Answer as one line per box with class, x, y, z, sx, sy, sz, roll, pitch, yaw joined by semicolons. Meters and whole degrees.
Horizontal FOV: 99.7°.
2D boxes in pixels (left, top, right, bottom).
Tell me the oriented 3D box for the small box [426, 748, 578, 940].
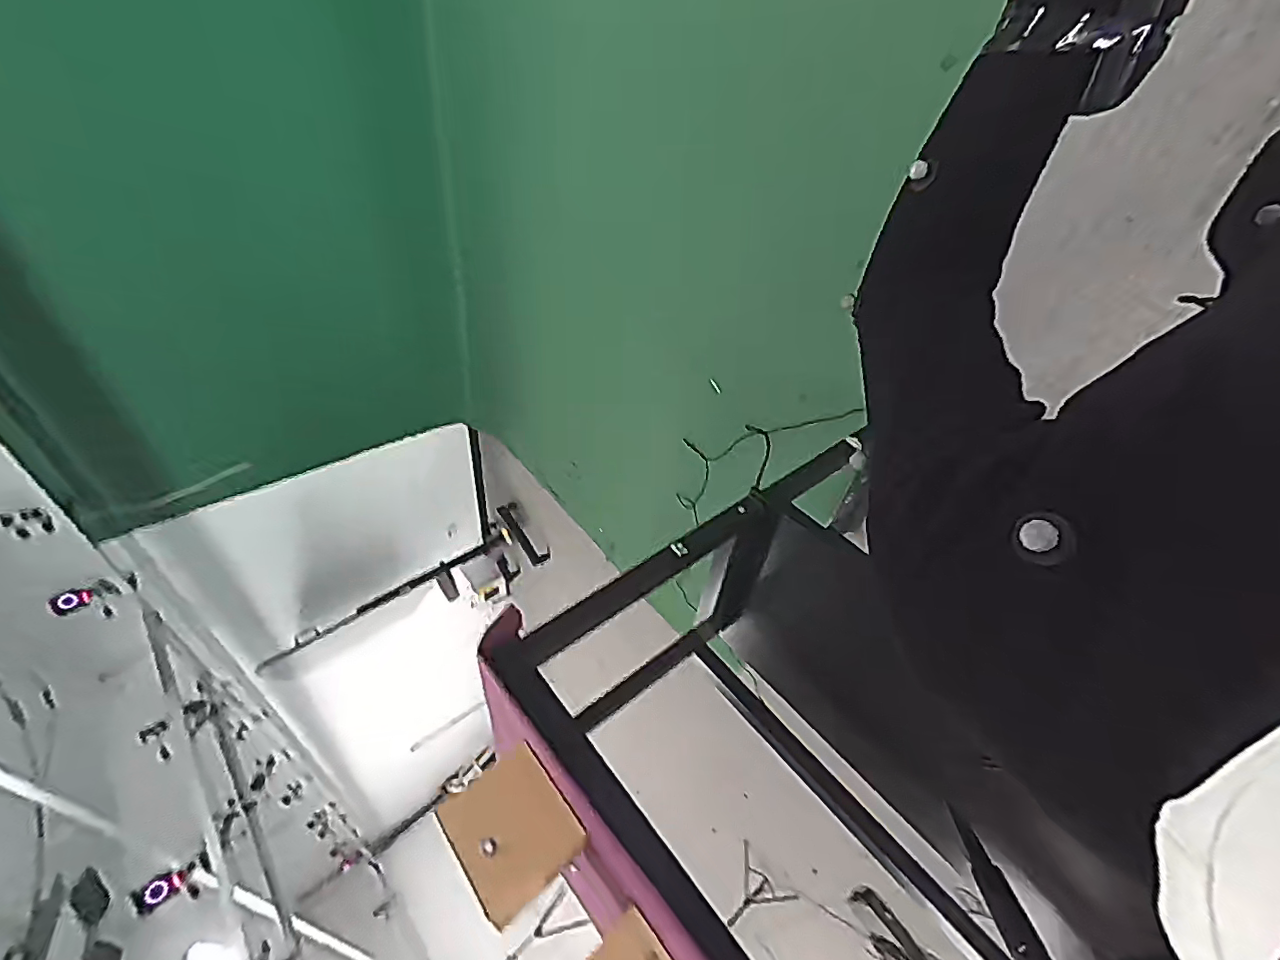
small box;-0.213;0.578;0.868;0.179;0.176;0.168;42;143;30
